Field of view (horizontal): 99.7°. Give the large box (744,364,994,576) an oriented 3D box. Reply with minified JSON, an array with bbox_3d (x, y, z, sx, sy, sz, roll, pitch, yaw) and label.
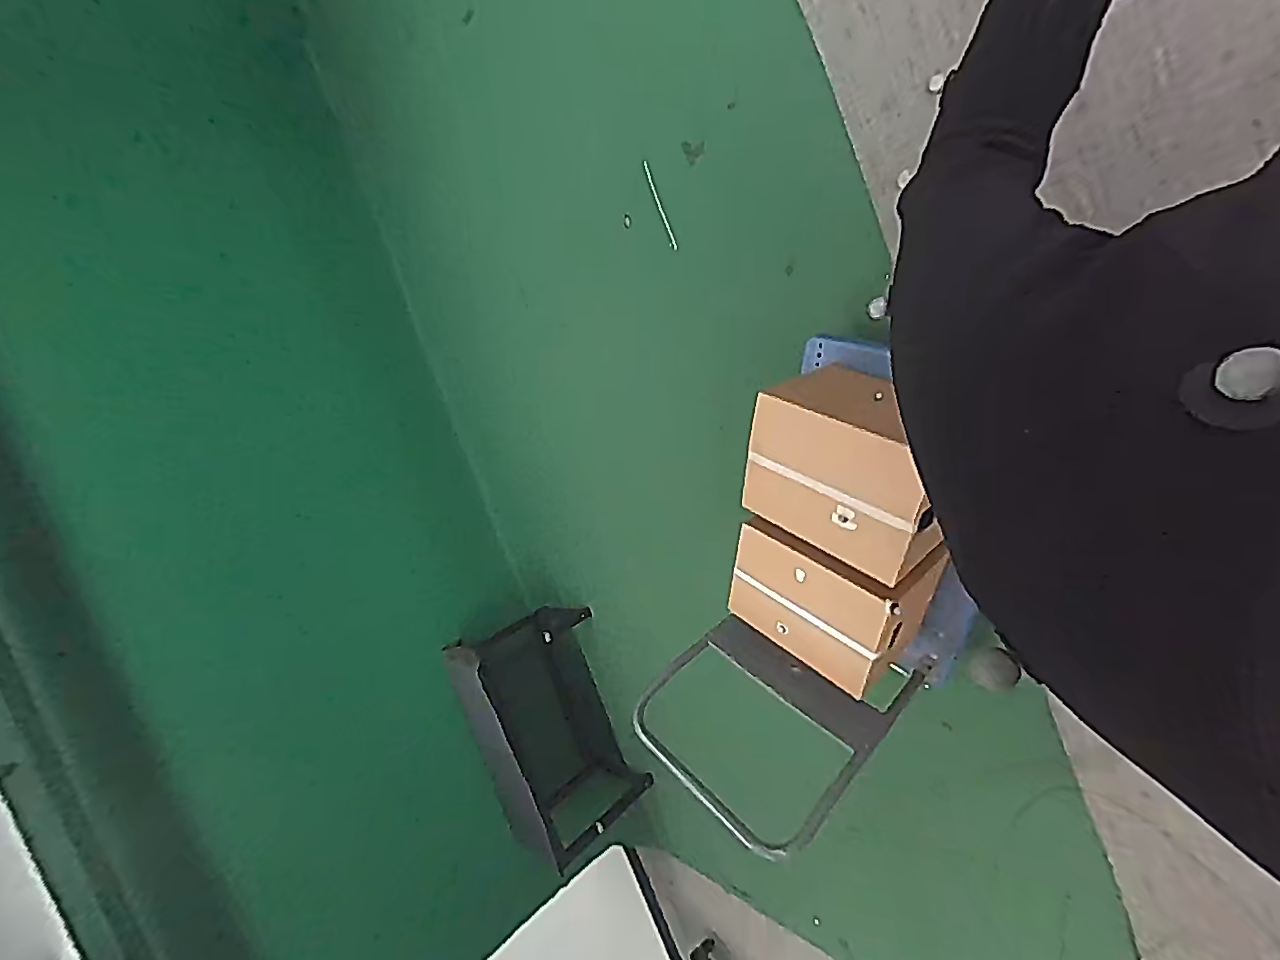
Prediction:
[{"bbox_3d":[0.508,-0.051,1.258,0.408,0.320,0.320,30,131,38],"label":"large box"}]
